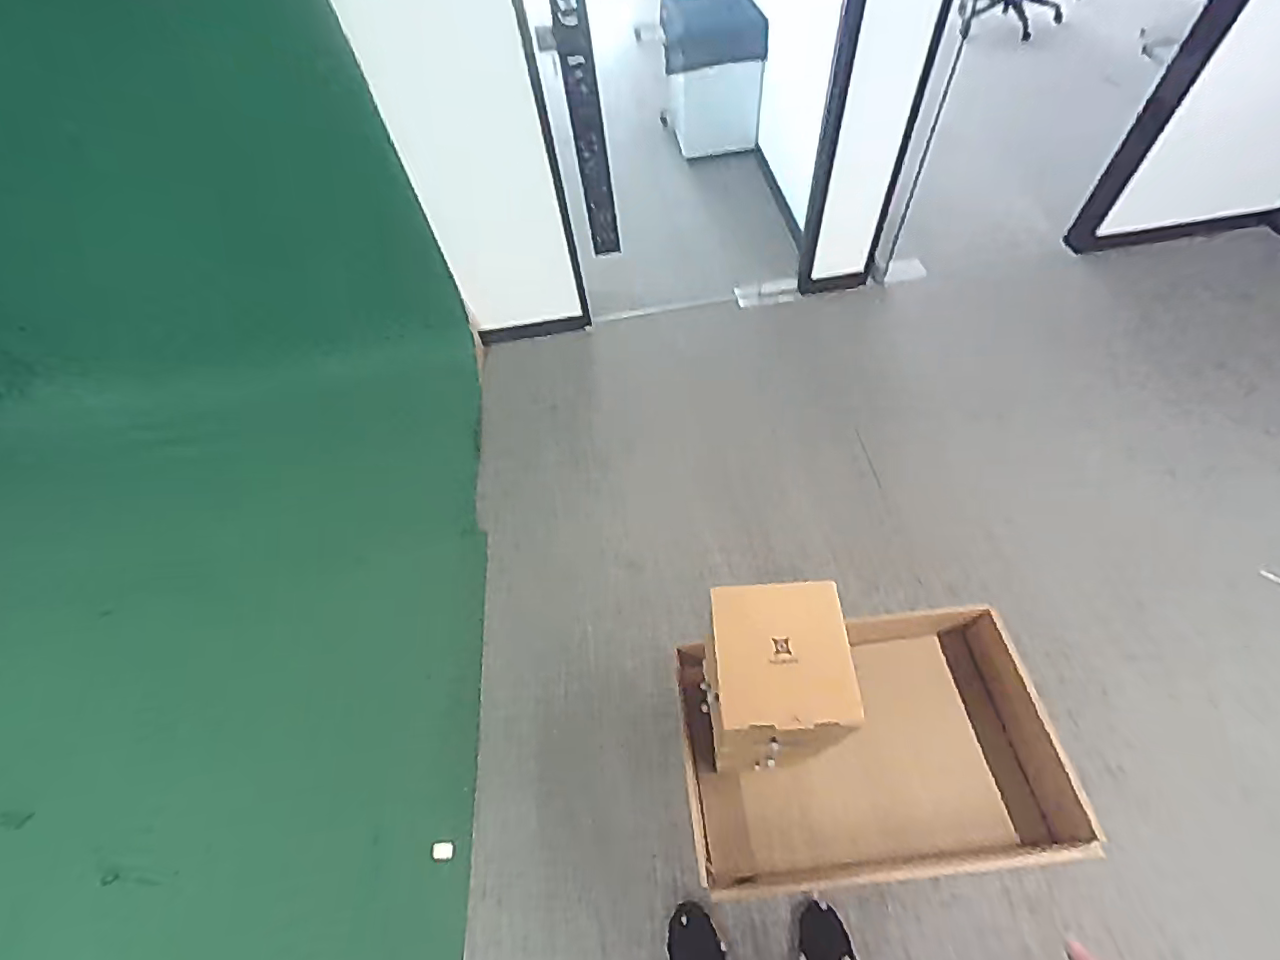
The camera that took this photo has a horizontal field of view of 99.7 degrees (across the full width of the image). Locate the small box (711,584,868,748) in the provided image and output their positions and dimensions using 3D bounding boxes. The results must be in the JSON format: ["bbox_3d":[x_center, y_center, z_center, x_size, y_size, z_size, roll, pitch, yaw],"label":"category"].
[{"bbox_3d":[0.186,0.256,0.734,0.168,0.176,0.179,-3,57,4],"label":"small box"}]

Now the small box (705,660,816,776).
[{"bbox_3d":[0.212,0.437,1.004,0.168,0.176,0.179,-7,56,2],"label":"small box"}]

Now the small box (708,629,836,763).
[{"bbox_3d":[0.198,0.346,0.868,0.168,0.176,0.179,-4,57,4],"label":"small box"}]
